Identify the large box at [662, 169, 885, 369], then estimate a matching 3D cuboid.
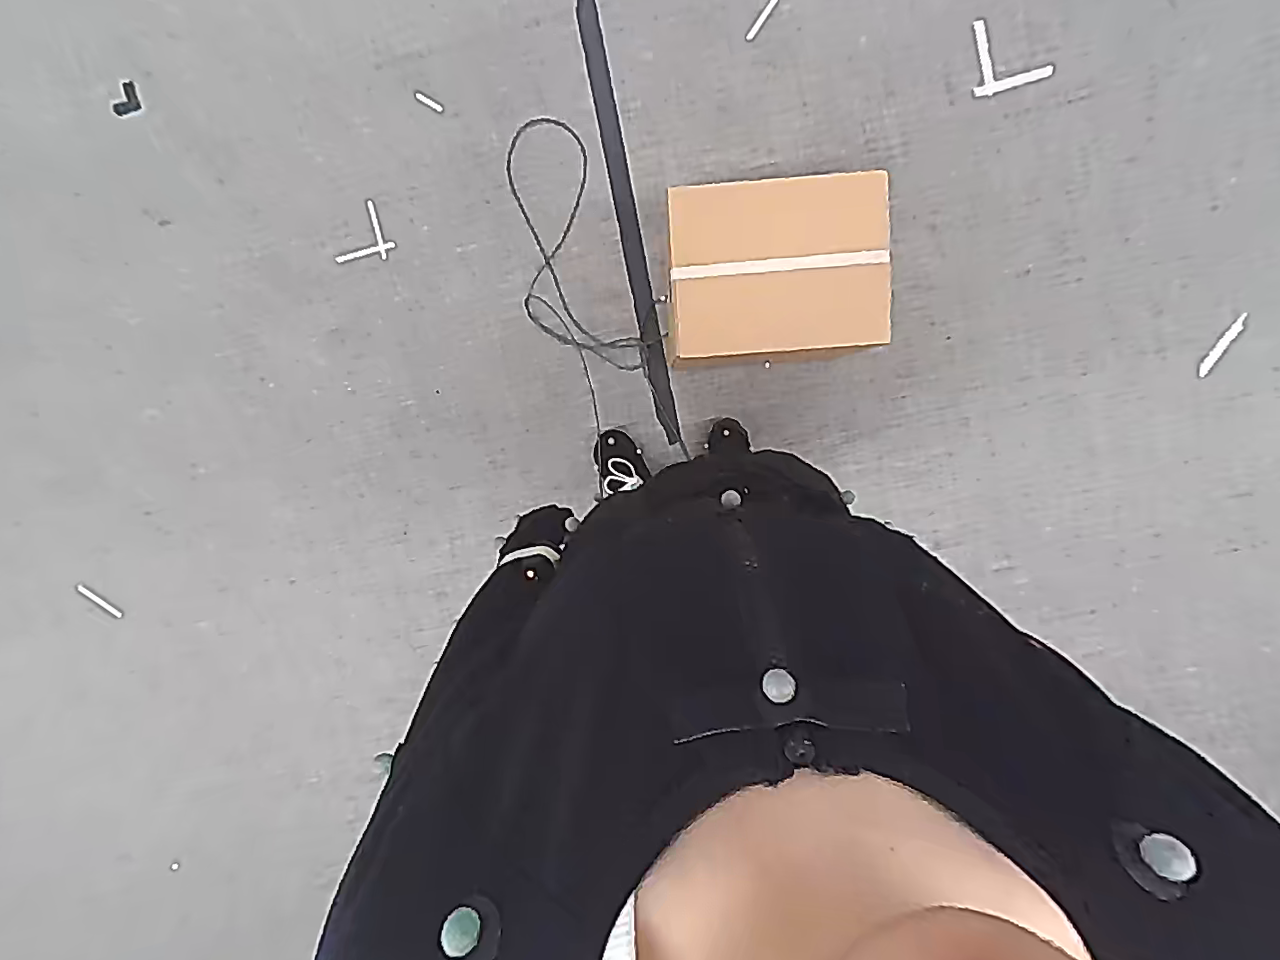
[{"bbox_3d":[0.260,-0.424,1.166,0.408,0.320,0.320,-4,97,2],"label":"large box"}]
